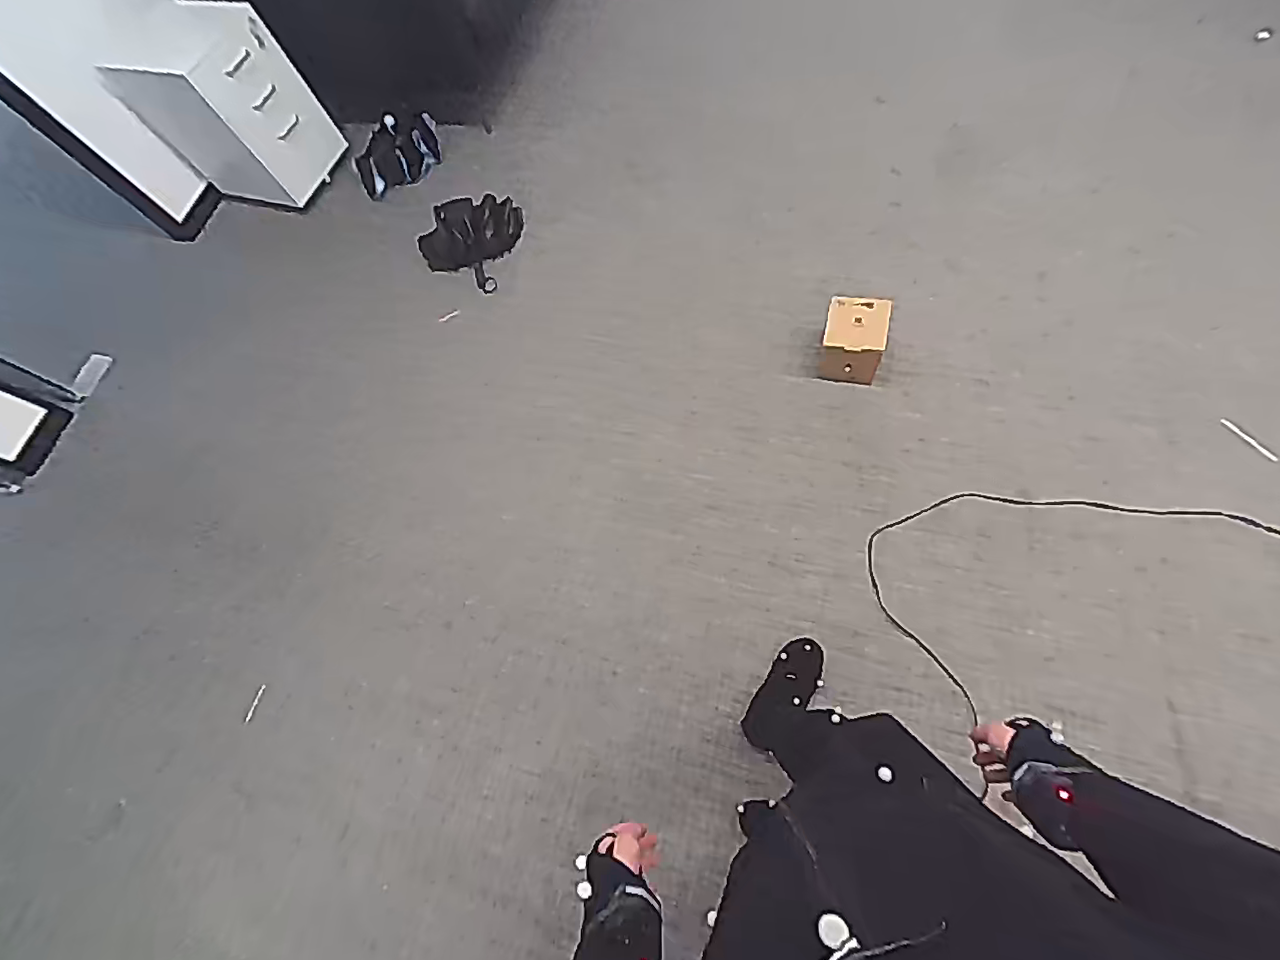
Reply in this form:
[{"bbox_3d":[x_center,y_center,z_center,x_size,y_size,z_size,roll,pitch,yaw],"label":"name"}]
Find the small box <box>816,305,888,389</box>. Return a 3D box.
[{"bbox_3d":[0.625,-0.392,1.610,0.168,0.176,0.179,11,70,16],"label":"small box"}]
